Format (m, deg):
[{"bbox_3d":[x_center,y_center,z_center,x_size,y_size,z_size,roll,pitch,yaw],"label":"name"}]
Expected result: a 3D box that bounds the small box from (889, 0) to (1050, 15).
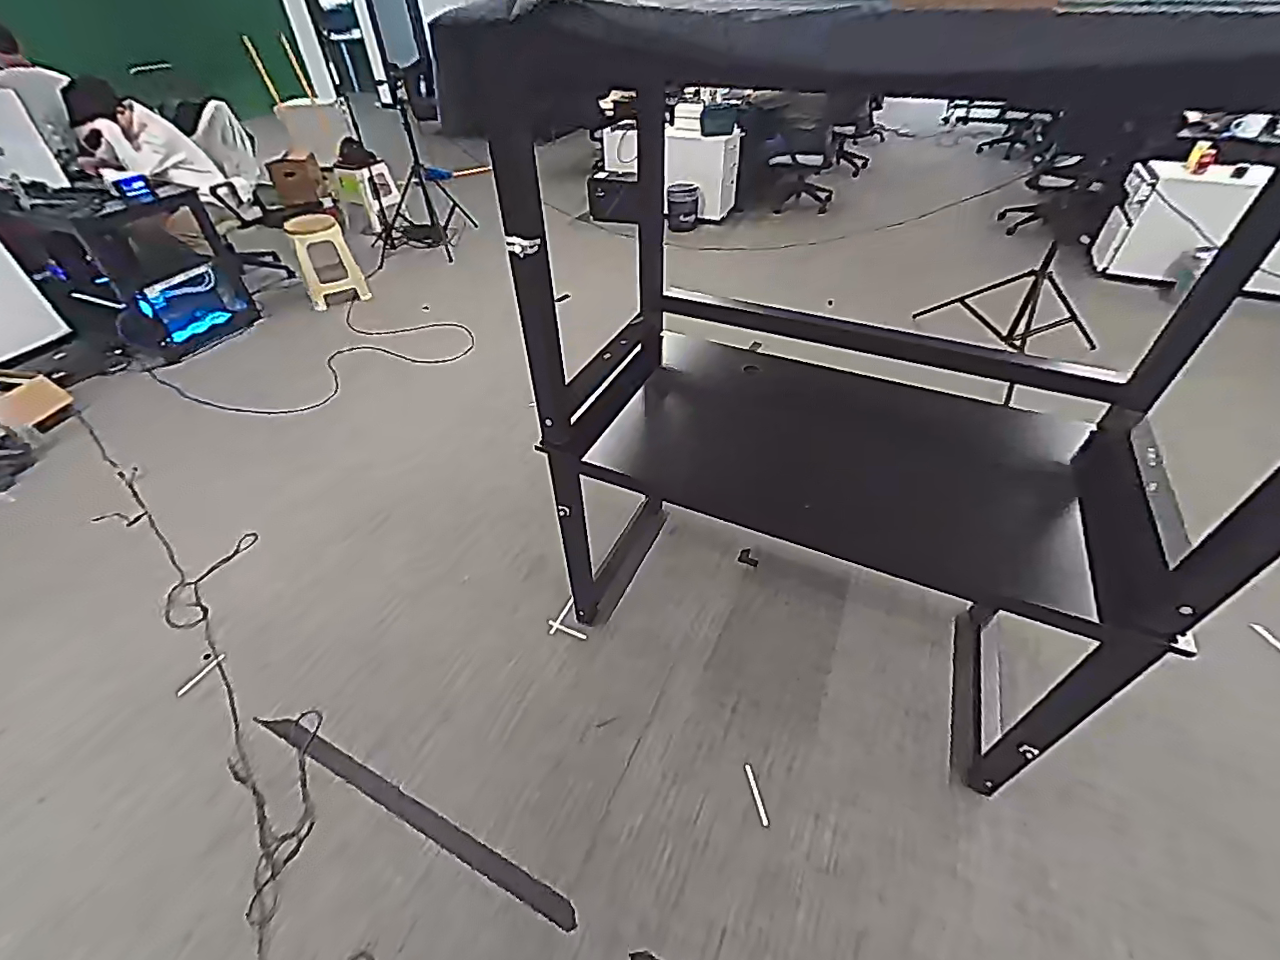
[{"bbox_3d":[0.383,-0.618,0.584,0.168,0.176,0.179,17,44,18],"label":"small box"}]
